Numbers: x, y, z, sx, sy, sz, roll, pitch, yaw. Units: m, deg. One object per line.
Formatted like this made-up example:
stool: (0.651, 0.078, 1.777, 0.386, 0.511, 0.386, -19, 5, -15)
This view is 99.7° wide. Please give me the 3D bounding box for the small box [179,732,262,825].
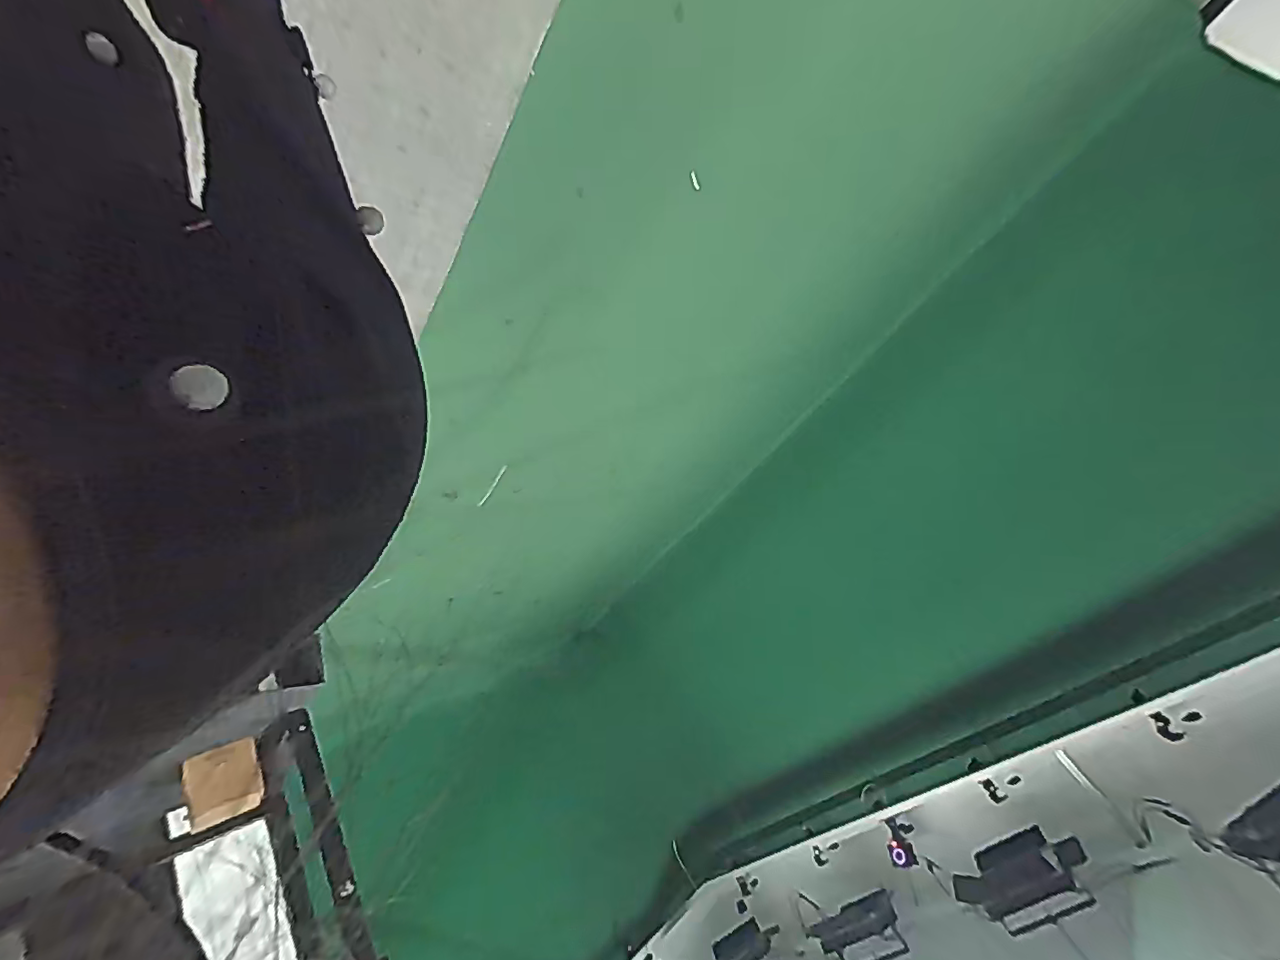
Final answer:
small box: (-1.260, 0.888, 1.620, 0.168, 0.176, 0.179, -8, 146, -47)
